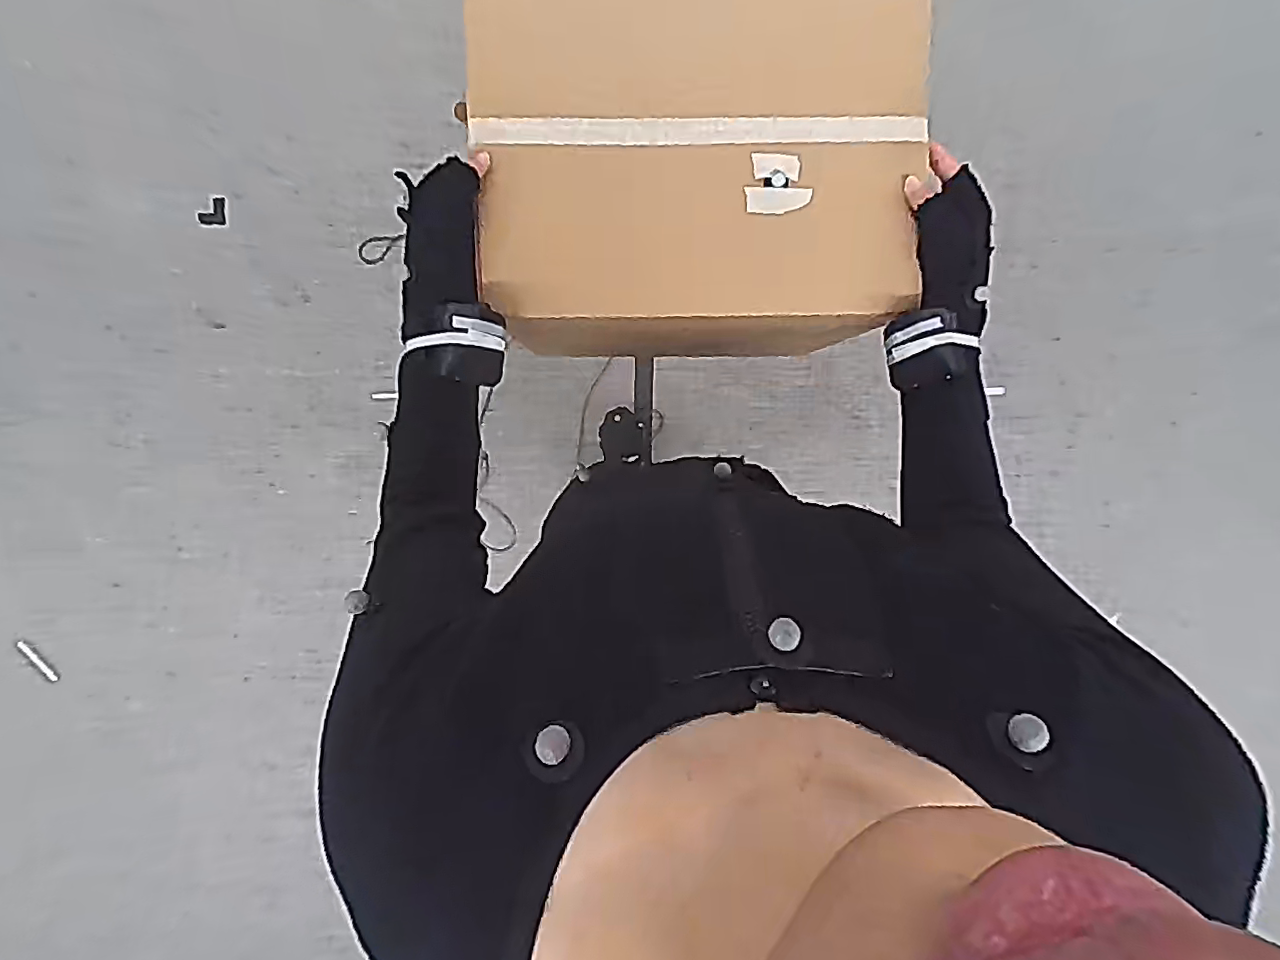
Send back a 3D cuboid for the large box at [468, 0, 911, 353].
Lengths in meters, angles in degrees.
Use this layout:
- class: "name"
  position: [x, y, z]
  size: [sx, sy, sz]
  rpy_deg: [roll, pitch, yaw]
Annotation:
- class: "large box"
  position: [0.042, -0.331, 0.641]
  size: [0.408, 0.320, 0.320]
  rpy_deg: [-1, 97, -2]
